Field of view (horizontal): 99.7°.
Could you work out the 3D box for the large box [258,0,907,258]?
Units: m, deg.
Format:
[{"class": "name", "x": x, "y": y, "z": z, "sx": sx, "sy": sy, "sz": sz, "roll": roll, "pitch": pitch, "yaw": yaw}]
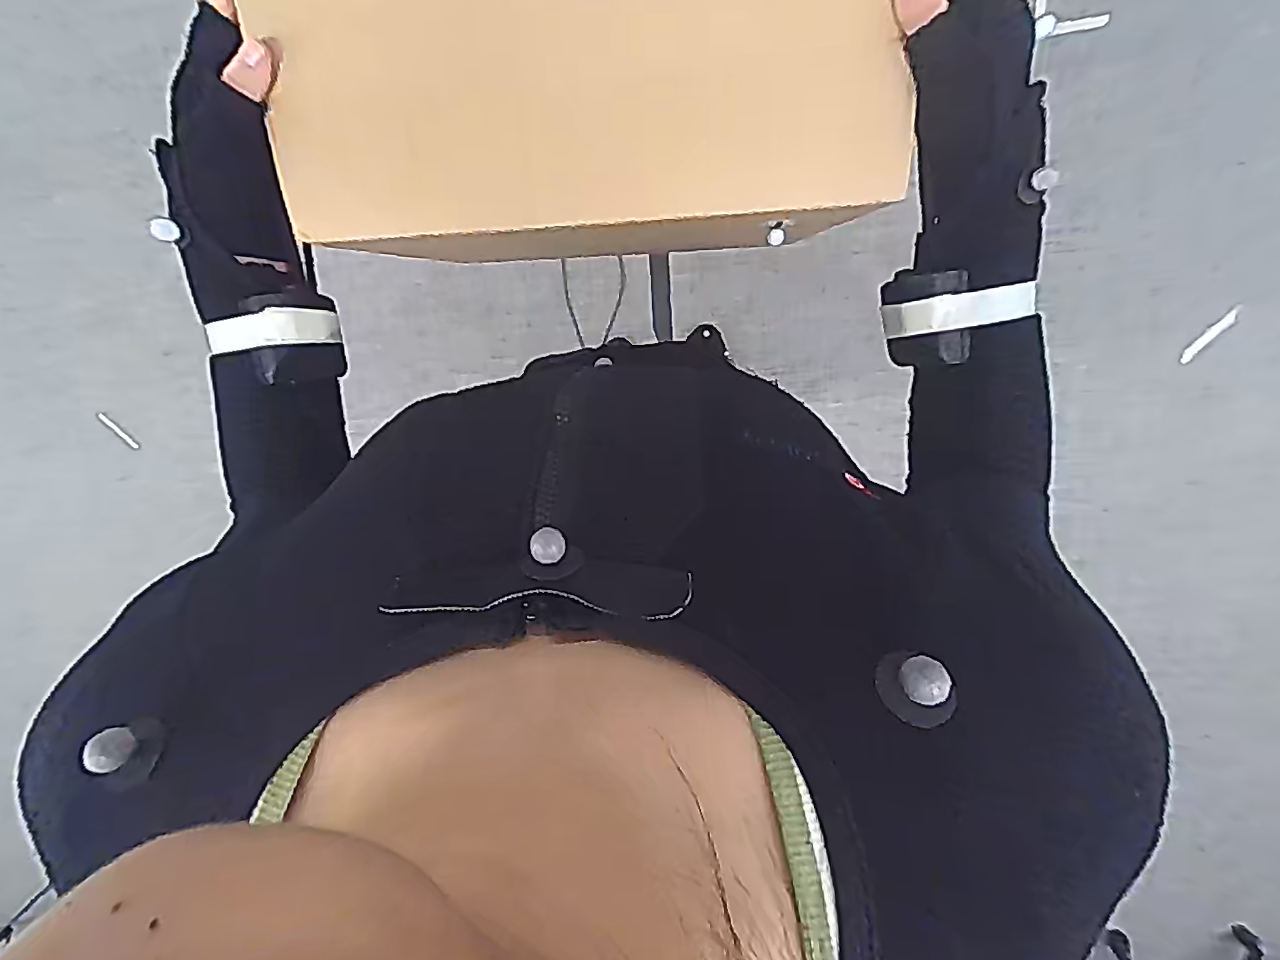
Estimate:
[{"class": "large box", "x": -0.032, "y": -0.372, "z": 0.459, "sx": 0.408, "sy": 0.320, "sz": 0.320, "roll": -2, "pitch": 109, "yaw": 4}]
